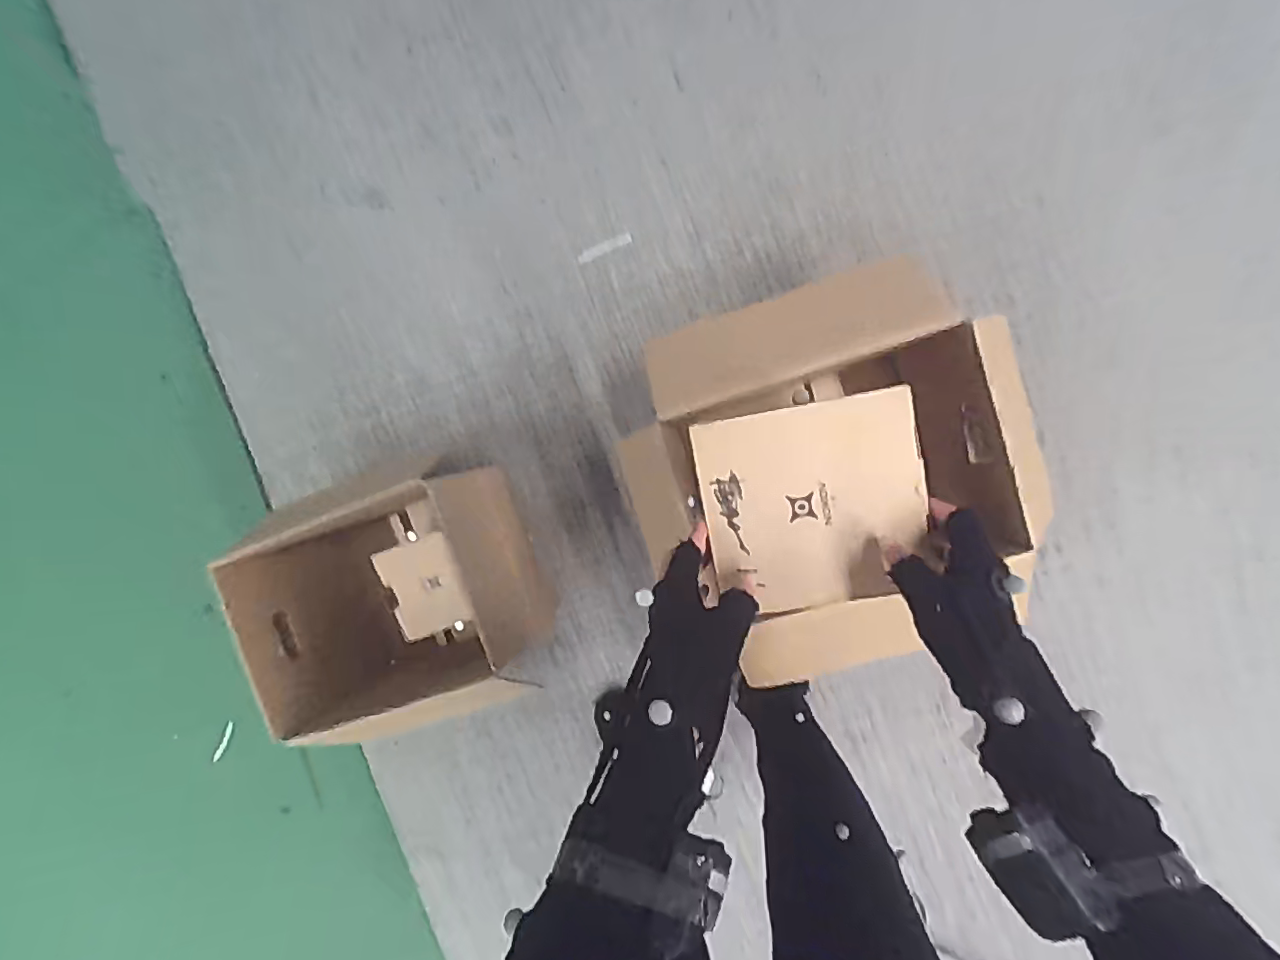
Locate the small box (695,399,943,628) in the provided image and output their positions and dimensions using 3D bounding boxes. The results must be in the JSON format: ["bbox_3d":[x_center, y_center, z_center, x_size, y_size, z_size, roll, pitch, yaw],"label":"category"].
[{"bbox_3d":[0.151,0.020,0.512,0.179,0.176,0.168,-11,95,8],"label":"small box"}]
